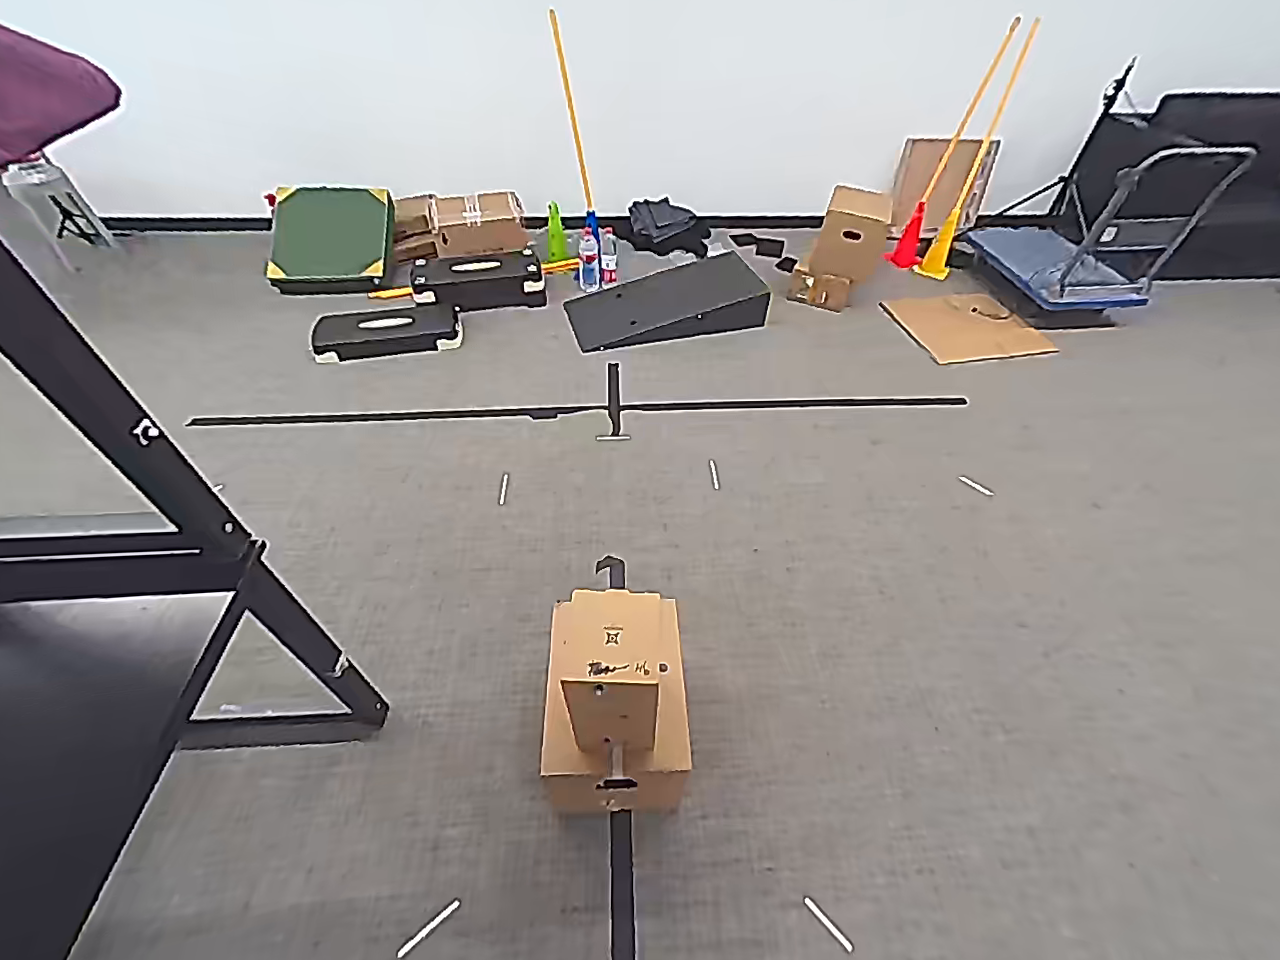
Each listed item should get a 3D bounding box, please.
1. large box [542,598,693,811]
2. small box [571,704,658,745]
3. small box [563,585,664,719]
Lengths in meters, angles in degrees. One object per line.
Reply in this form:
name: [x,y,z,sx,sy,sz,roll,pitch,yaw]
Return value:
large box: [-0.058,0.550,1.339,0.320,0.320,0.408,0,46,-3]
small box: [-0.046,0.426,1.119,0.168,0.176,0.179,1,47,1]
small box: [-0.043,0.316,0.998,0.168,0.176,0.179,2,46,2]
